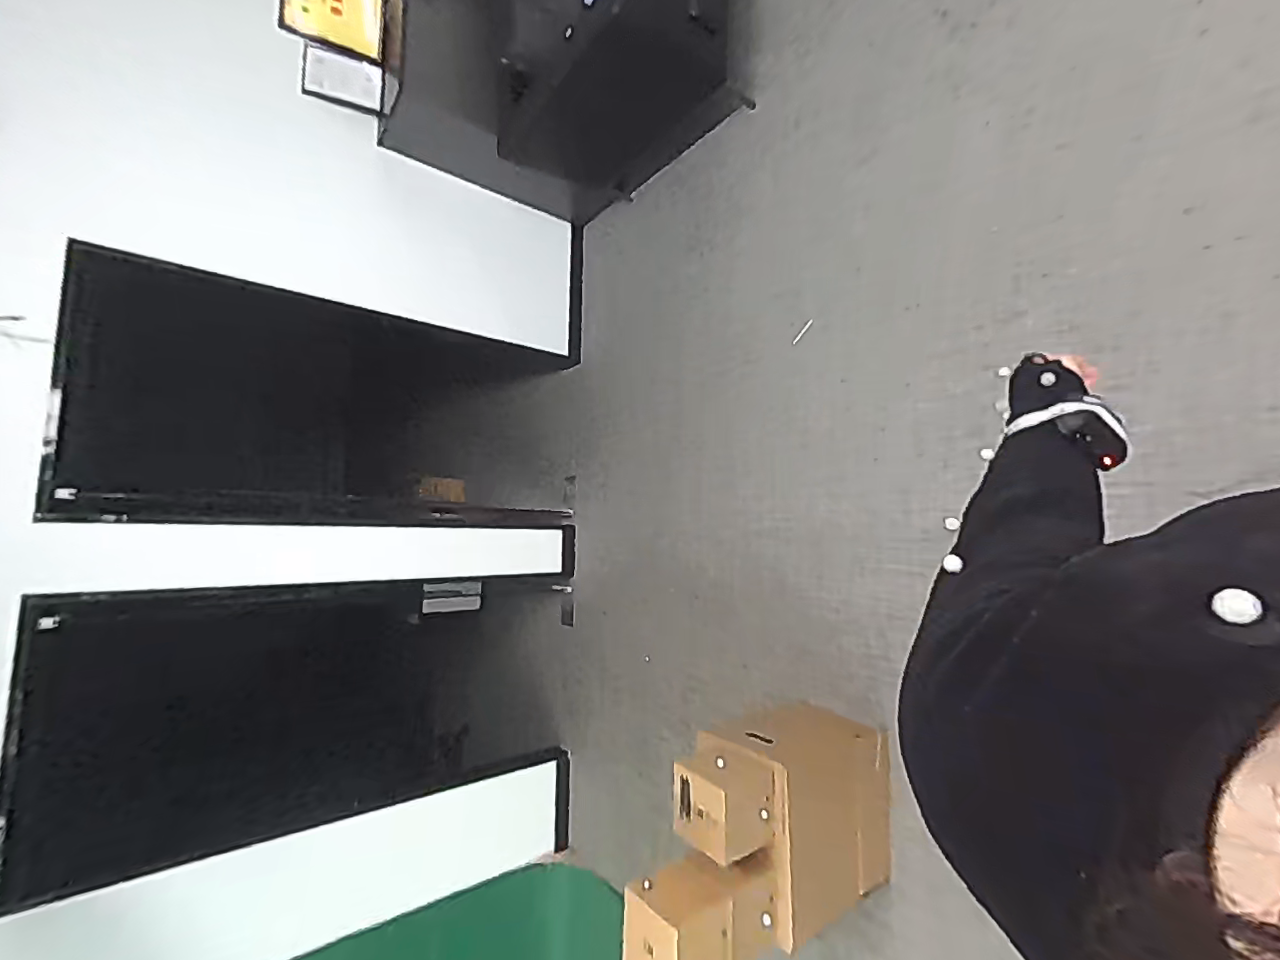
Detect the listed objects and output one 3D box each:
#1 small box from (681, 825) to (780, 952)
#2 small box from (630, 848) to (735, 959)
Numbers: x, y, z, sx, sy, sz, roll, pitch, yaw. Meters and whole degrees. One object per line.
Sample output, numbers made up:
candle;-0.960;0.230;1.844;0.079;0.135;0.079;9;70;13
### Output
small box;0.216;0.972;1.310;0.179;0.176;0.168;-4;83;50
small box;0.096;0.962;1.201;0.179;0.176;0.168;-5;82;51
